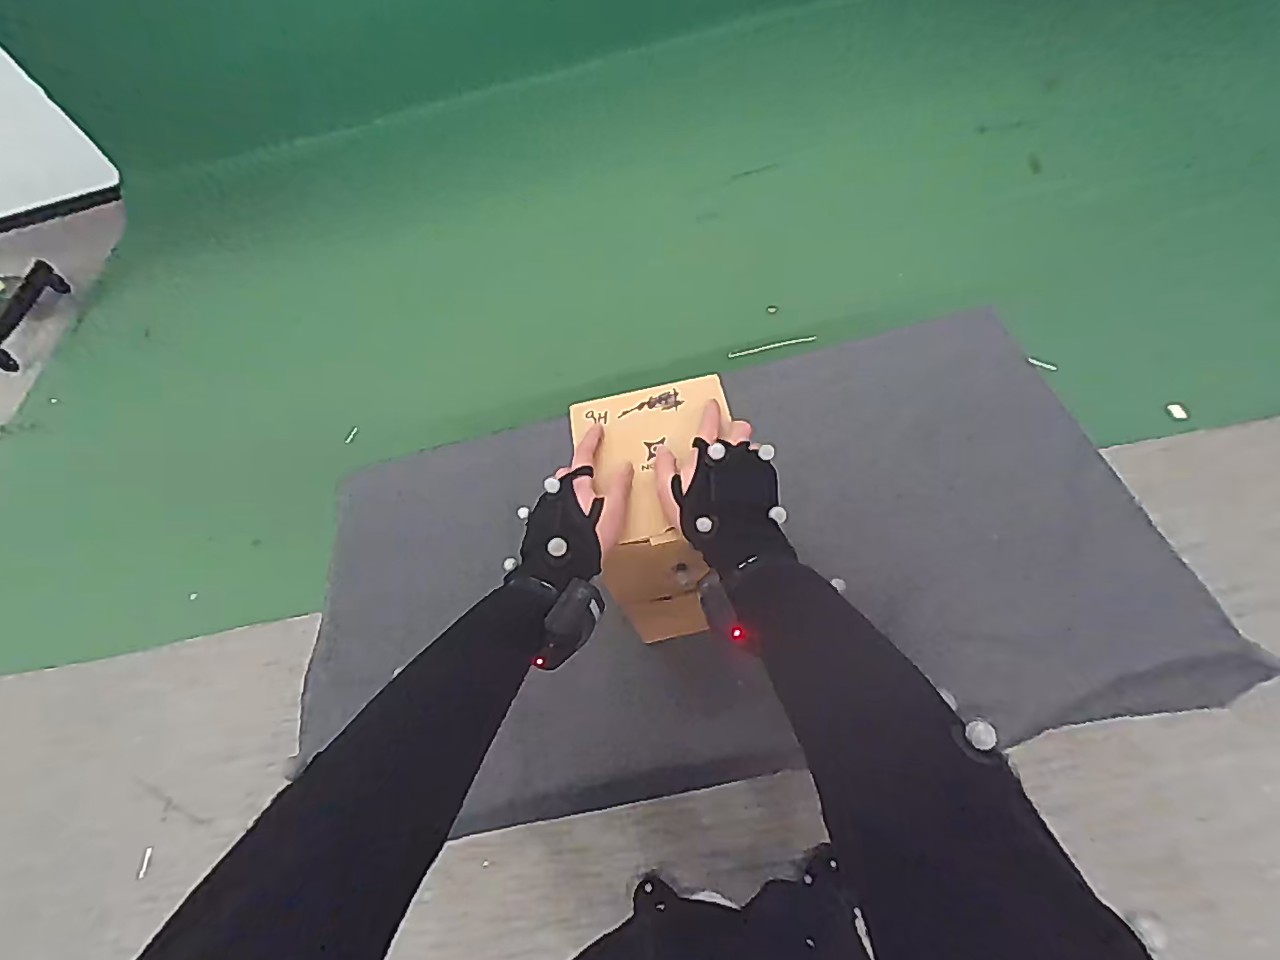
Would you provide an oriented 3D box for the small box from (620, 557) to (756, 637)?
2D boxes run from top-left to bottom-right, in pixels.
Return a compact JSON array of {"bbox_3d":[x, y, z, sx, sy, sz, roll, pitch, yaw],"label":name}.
[{"bbox_3d":[0.057,0.105,0.746,0.168,0.176,0.179,-13,57,1],"label":"small box"}]

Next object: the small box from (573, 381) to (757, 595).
[{"bbox_3d":[0.029,0.021,0.610,0.168,0.176,0.179,-11,61,2],"label":"small box"}]
